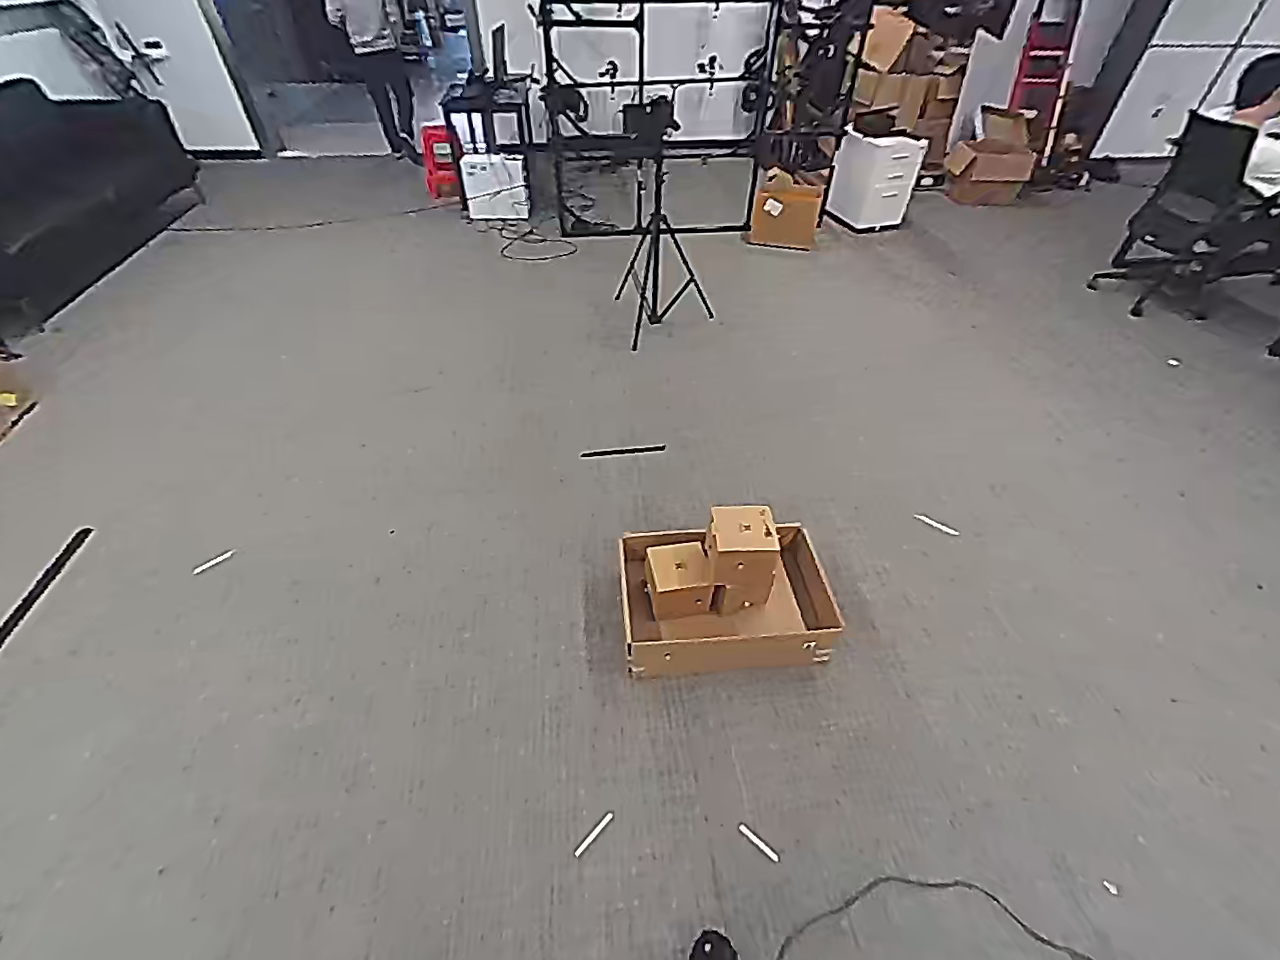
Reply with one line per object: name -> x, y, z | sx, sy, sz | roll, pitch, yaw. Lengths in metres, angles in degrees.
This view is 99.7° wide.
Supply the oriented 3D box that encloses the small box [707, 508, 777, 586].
small box -> 0.291, 0.199, 1.587 | 0.179, 0.176, 0.168 | -2, 46, -1
